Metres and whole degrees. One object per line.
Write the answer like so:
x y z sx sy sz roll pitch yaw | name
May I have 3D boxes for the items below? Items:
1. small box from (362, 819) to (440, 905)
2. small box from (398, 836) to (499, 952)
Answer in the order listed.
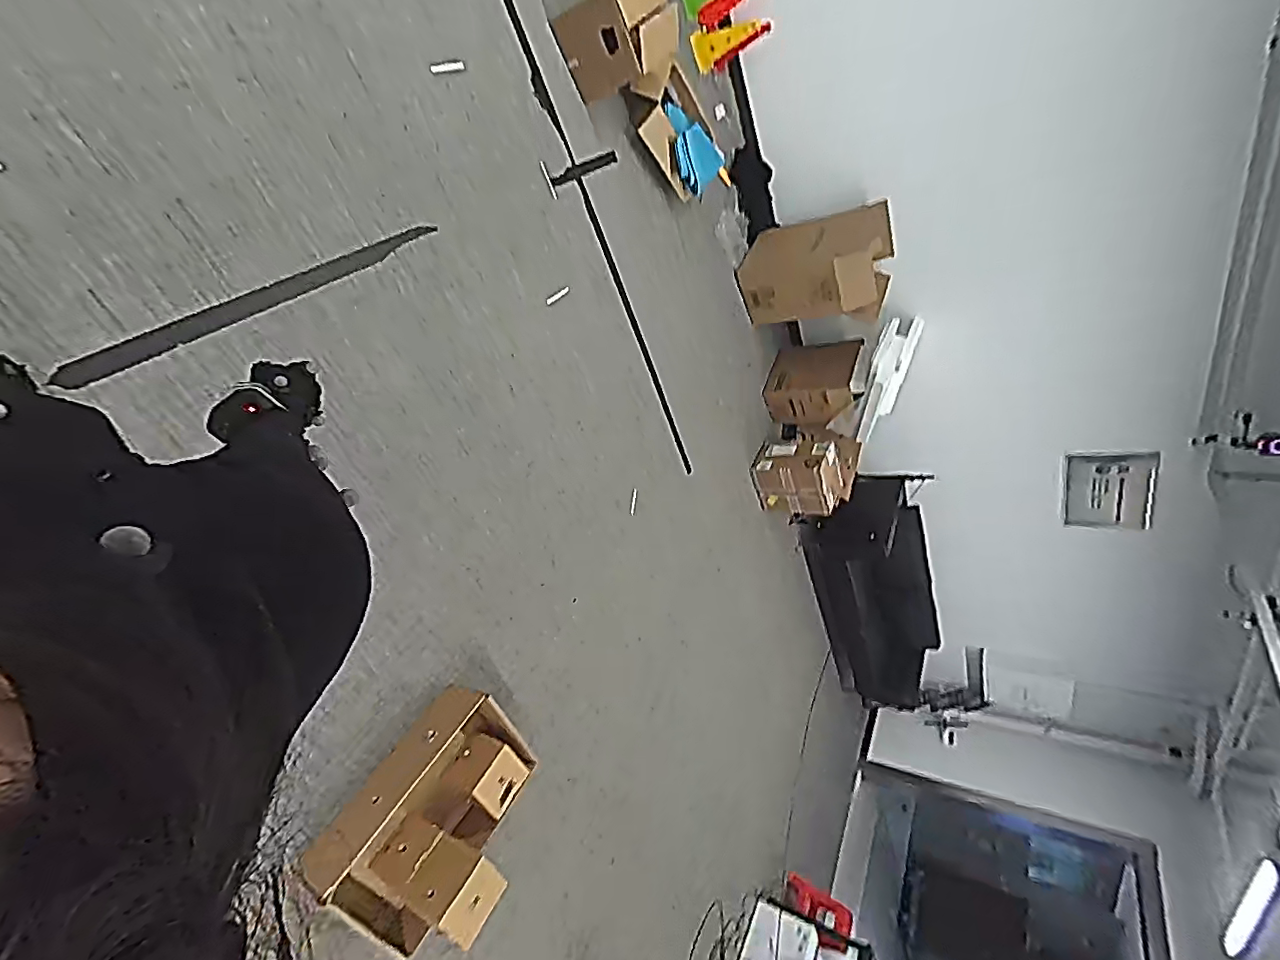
-0.667 1.126 1.580 0.168 0.176 0.179 -53 130 -45 | small box
-0.531 1.131 1.487 0.179 0.176 0.168 -52 132 -45 | small box
